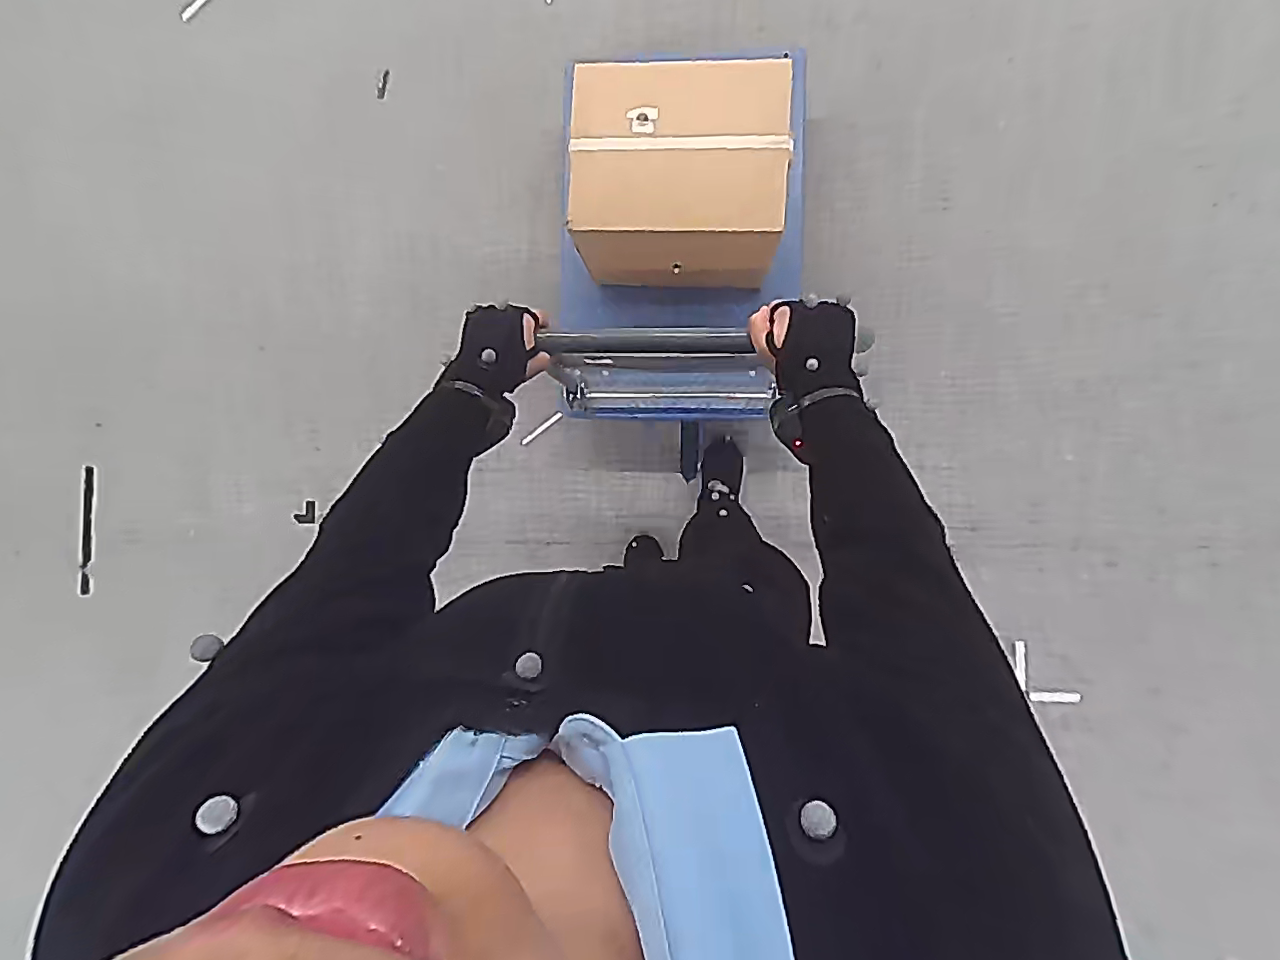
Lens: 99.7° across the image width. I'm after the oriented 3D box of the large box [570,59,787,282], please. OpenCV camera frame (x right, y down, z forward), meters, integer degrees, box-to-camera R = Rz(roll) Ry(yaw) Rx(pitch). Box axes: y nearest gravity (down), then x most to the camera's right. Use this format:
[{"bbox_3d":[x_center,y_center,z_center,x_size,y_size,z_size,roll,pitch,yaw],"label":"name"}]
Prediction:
[{"bbox_3d":[0.087,-0.627,1.159,0.408,0.320,0.320,3,90,6],"label":"large box"}]
